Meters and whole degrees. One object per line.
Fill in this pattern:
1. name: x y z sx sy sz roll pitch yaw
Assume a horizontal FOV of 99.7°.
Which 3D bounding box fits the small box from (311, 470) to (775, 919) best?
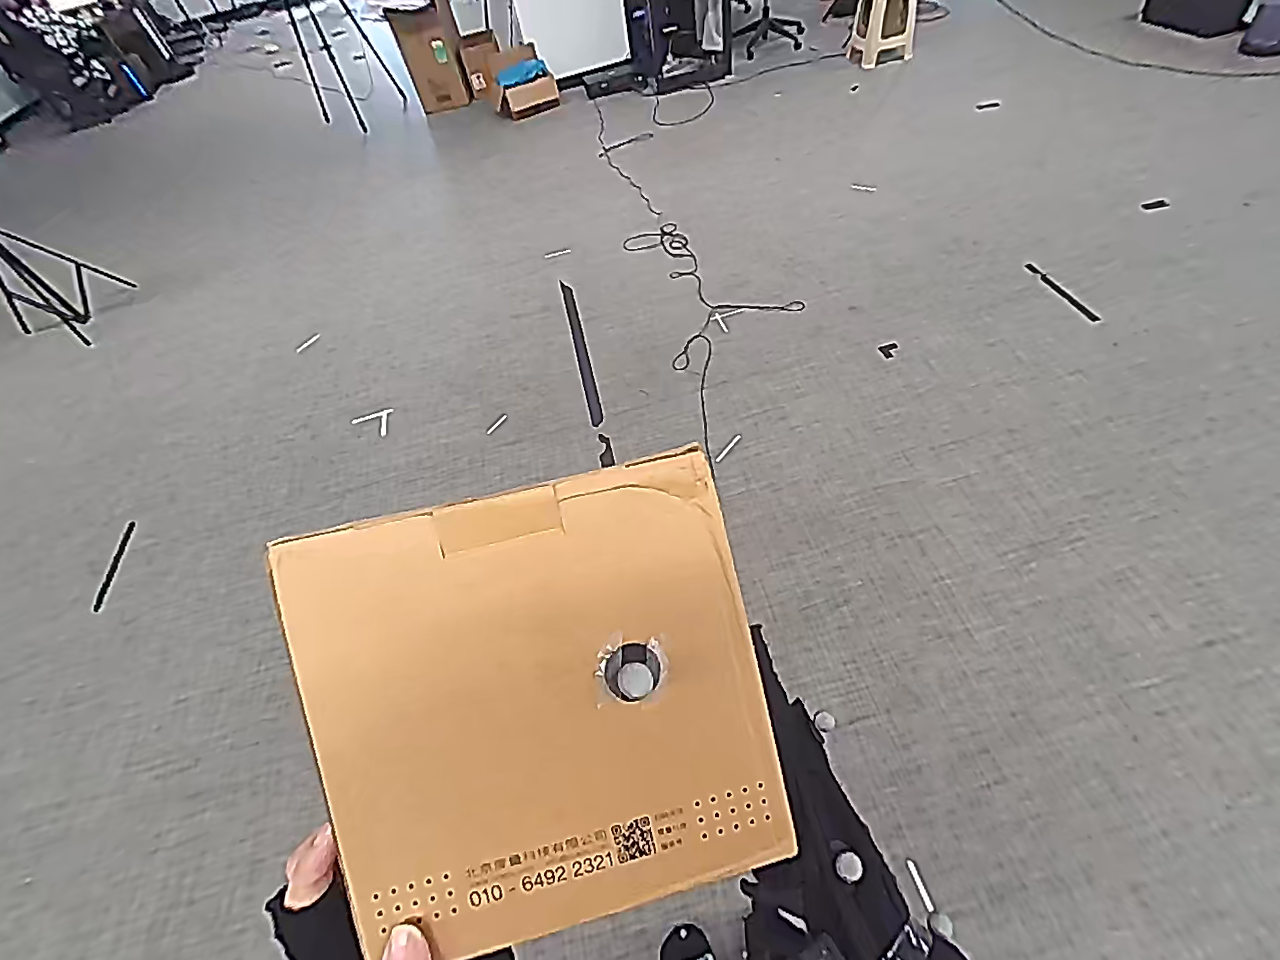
1. small box: -0.040 0.096 0.303 0.168 0.179 0.176 -13 91 -5
